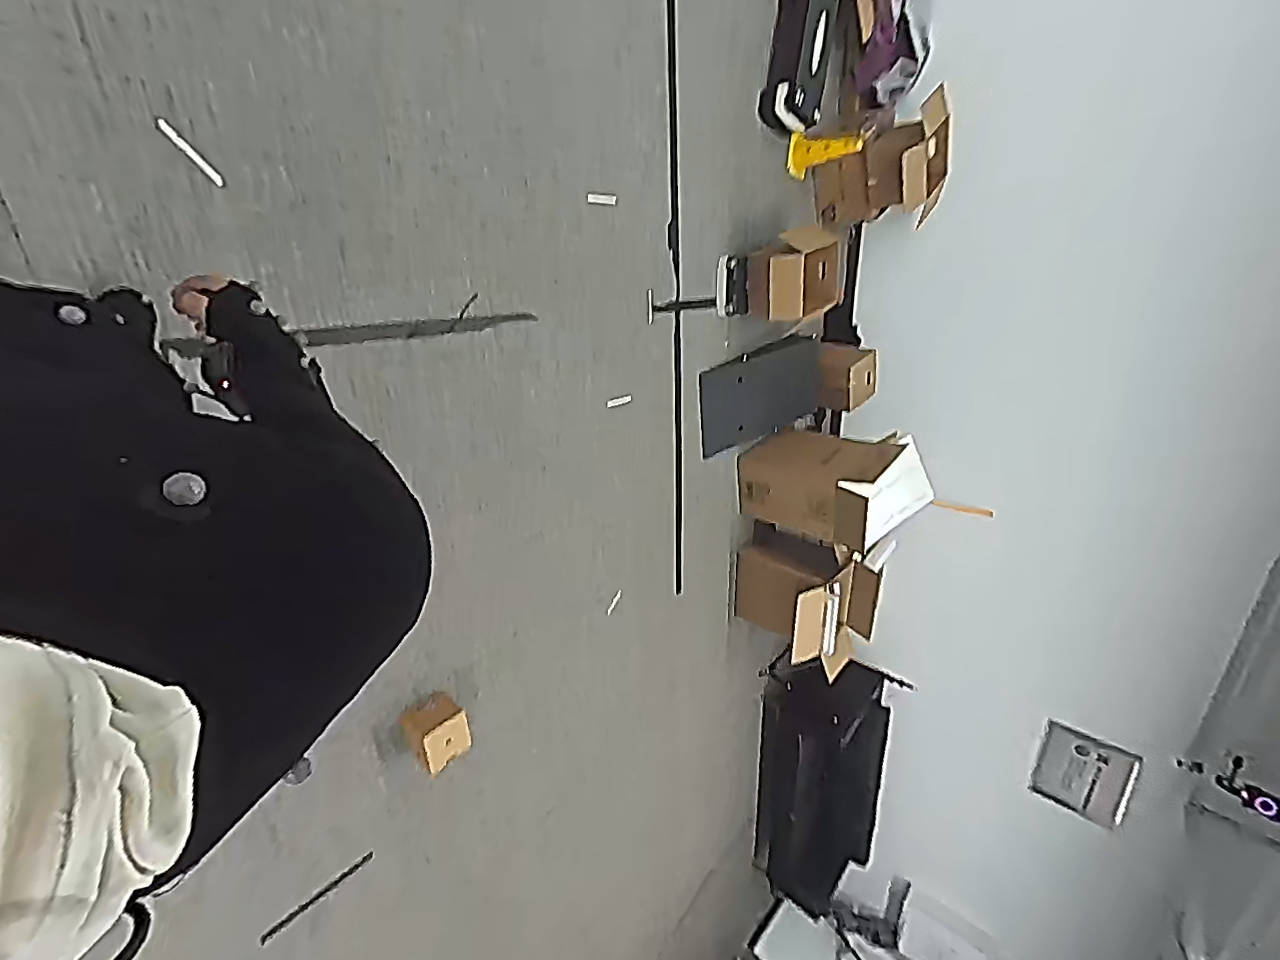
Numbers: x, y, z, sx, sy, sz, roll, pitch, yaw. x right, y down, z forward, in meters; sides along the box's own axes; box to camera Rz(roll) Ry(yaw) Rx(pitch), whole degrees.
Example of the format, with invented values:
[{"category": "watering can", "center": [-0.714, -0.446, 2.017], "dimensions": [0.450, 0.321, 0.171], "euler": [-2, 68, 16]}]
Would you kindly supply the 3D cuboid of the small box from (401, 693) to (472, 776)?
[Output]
[{"category": "small box", "center": [-0.736, 0.912, 1.955], "dimensions": [0.168, 0.176, 0.179], "euler": [-25, 121, -45]}]
